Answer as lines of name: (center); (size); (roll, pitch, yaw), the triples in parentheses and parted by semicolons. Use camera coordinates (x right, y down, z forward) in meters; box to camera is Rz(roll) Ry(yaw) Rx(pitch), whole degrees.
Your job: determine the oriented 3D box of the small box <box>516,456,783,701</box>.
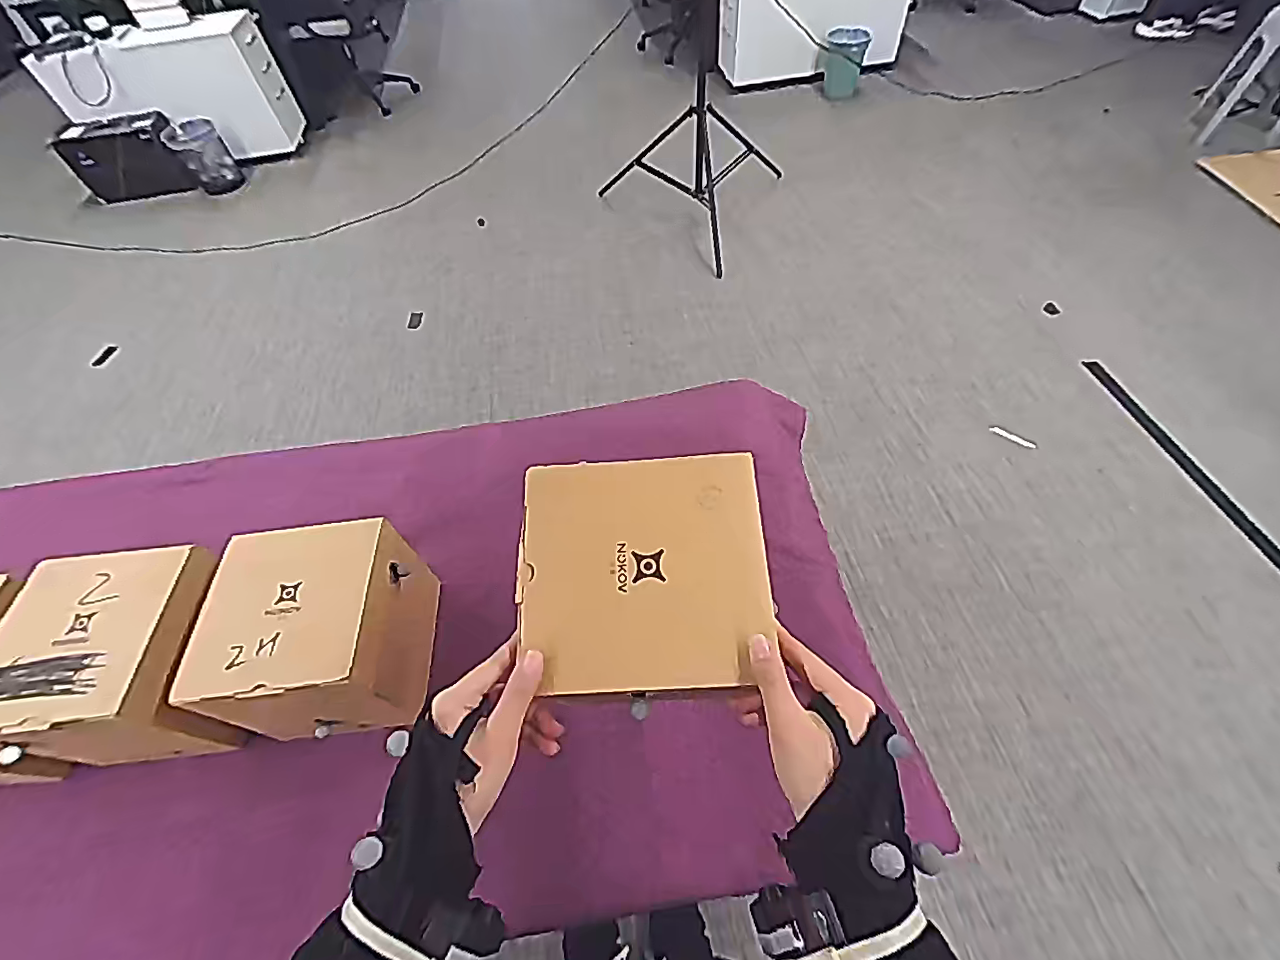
small box: (0.009, 0.093, 0.452); (0.179, 0.176, 0.168); (-4, 66, 4)
